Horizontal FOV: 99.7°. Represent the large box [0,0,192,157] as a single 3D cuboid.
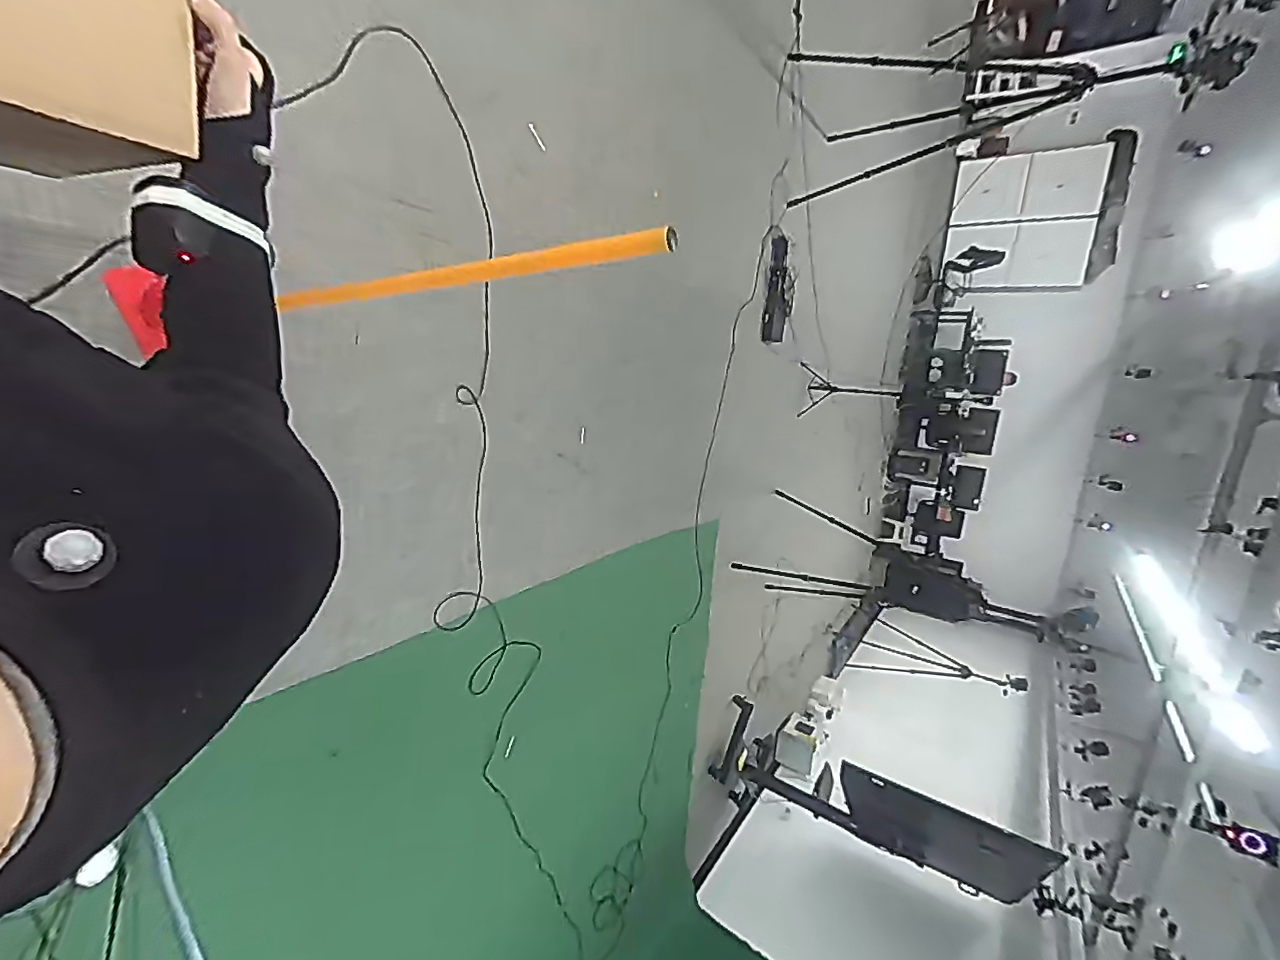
[{"bbox_3d":[-0.573,-0.419,0.306,0.408,0.320,0.320,-17,117,-58],"label":"large box"}]
